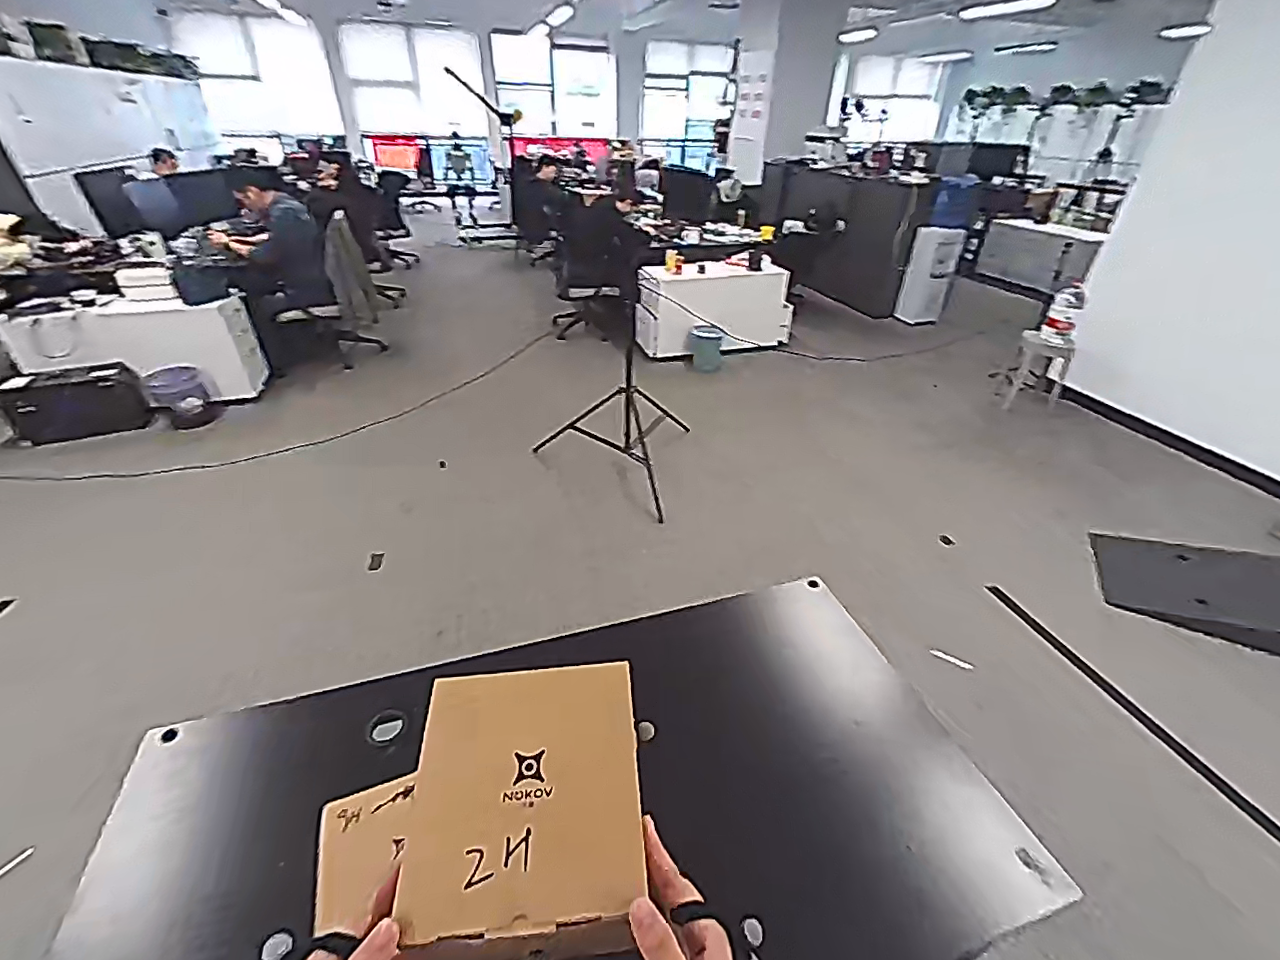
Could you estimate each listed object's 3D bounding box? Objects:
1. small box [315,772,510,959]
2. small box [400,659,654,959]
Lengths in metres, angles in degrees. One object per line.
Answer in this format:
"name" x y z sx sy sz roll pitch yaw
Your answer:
"small box" -0.249 0.467 0.618 0.168 0.176 0.179 -13 36 -19
"small box" -0.078 0.279 0.461 0.168 0.176 0.179 -4 43 -3
